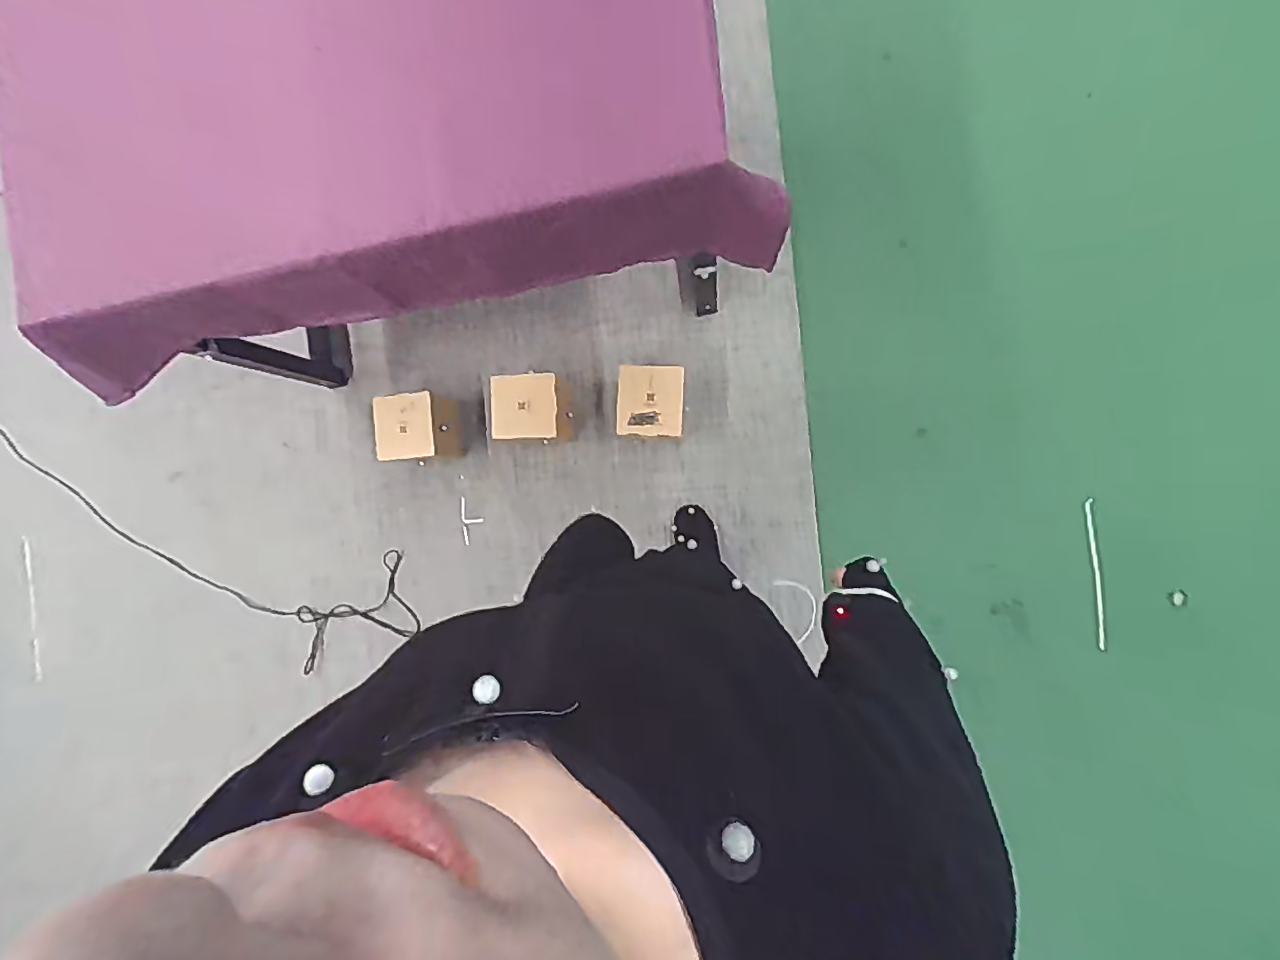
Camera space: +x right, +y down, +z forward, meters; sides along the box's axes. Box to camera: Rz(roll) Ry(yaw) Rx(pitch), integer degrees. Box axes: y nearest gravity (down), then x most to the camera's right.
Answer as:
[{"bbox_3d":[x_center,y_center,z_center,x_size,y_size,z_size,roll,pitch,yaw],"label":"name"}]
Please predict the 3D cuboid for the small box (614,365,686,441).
[{"bbox_3d":[0.031,-0.197,1.424,0.168,0.176,0.179,4,89,8],"label":"small box"}]
